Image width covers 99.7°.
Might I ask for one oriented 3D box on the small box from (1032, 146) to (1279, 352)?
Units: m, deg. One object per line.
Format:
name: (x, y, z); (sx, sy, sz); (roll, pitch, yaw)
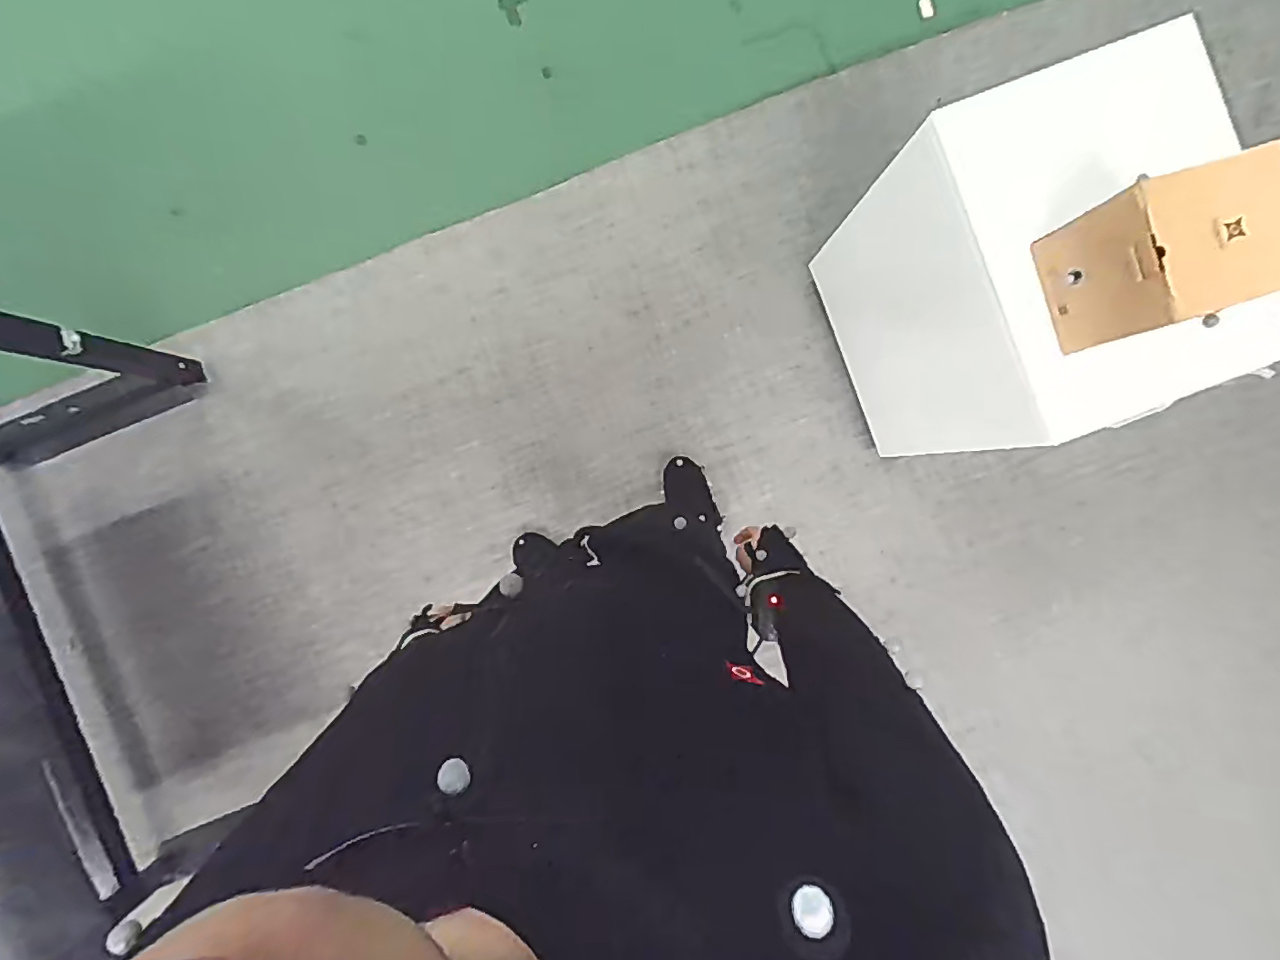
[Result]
small box: (0.662, -0.280, 0.694); (0.179, 0.176, 0.168); (-18, 91, 0)
